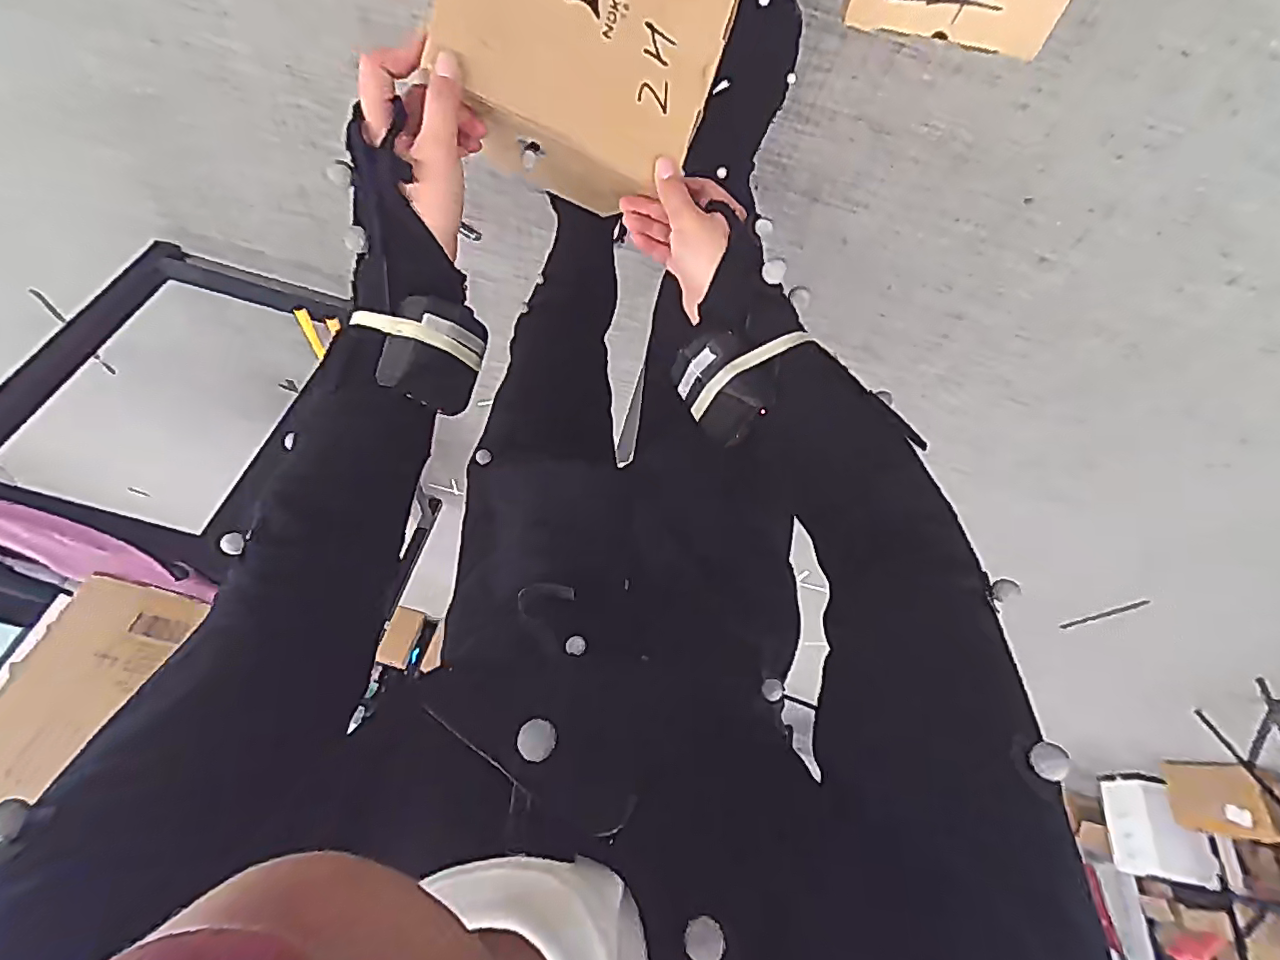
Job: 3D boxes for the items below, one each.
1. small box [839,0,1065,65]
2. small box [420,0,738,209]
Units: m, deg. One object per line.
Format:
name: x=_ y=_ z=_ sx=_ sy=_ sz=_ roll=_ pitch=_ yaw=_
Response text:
small box: x=0.275 y=-0.482 z=0.429 sx=0.168 sy=0.176 sz=0.179 roll=13 pitch=149 yaw=1
small box: x=-0.055 y=-0.322 z=0.404 sx=0.179 sy=0.168 sz=0.176 roll=14 pitch=-166 yaw=-27
